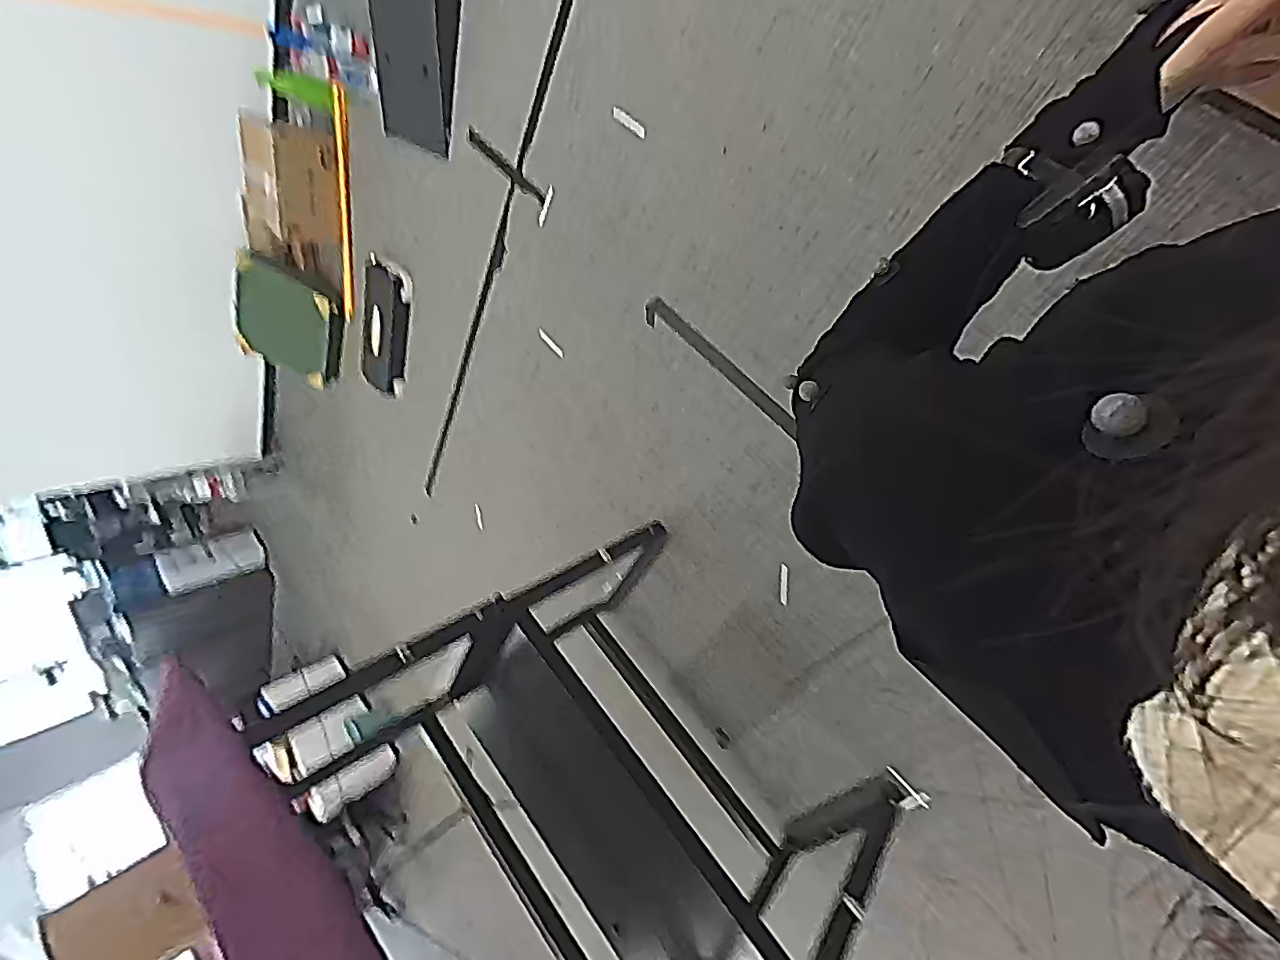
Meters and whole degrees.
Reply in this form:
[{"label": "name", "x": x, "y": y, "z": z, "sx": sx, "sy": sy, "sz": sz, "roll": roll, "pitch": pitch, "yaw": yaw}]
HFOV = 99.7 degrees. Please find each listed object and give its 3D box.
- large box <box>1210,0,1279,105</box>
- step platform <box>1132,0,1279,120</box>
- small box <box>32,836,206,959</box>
[{"label": "large box", "x": 0.964, "y": -0.556, "z": 0.567, "sx": 0.408, "sy": 0.320, "sz": 0.320, "roll": 49, "pitch": 129, "yaw": 19}, {"label": "step platform", "x": 1.096, "y": -0.615, "z": 0.758, "sx": 0.684, "sy": 0.204, "sz": 0.286, "roll": 53, "pitch": 131, "yaw": 15}, {"label": "small box", "x": -0.865, "y": 0.741, "z": 0.912, "sx": 0.179, "sy": 0.176, "sz": 0.168, "roll": 49, "pitch": 131, "yaw": 17}]
